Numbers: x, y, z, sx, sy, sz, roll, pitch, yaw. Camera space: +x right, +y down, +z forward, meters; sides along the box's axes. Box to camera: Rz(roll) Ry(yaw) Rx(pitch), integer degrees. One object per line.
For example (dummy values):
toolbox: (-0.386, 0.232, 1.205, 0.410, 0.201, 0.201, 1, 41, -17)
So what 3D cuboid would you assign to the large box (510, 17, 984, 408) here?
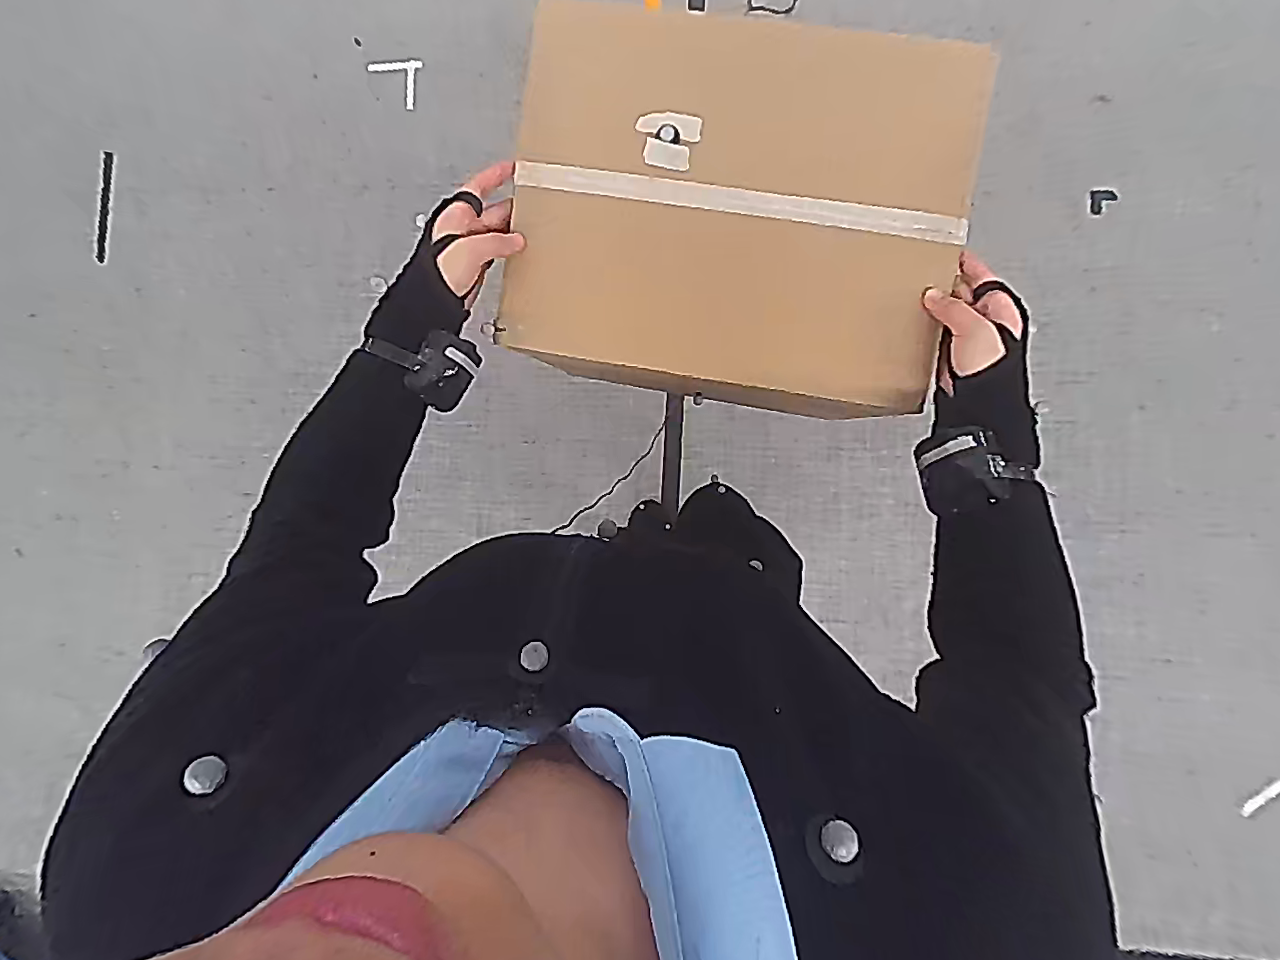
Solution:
large box: (0.103, -0.267, 0.650, 0.408, 0.320, 0.320, 10, 95, 5)
